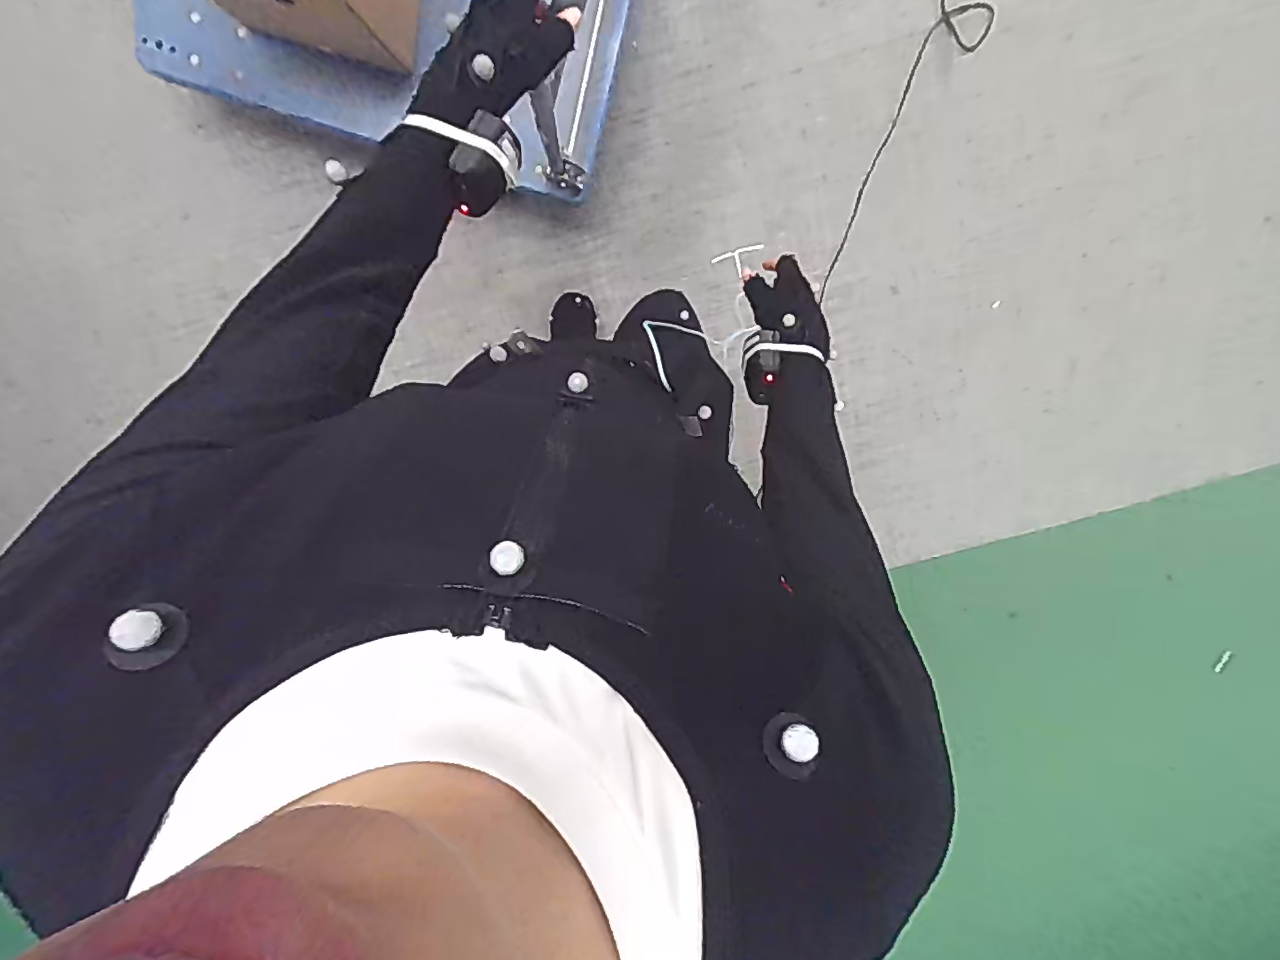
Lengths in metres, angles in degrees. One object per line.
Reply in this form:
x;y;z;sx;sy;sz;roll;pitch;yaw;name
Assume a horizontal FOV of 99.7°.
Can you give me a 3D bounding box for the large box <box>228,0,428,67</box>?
-0.515;-0.957;0.826;0.320;0.320;0.408;11;109;-6;large box
